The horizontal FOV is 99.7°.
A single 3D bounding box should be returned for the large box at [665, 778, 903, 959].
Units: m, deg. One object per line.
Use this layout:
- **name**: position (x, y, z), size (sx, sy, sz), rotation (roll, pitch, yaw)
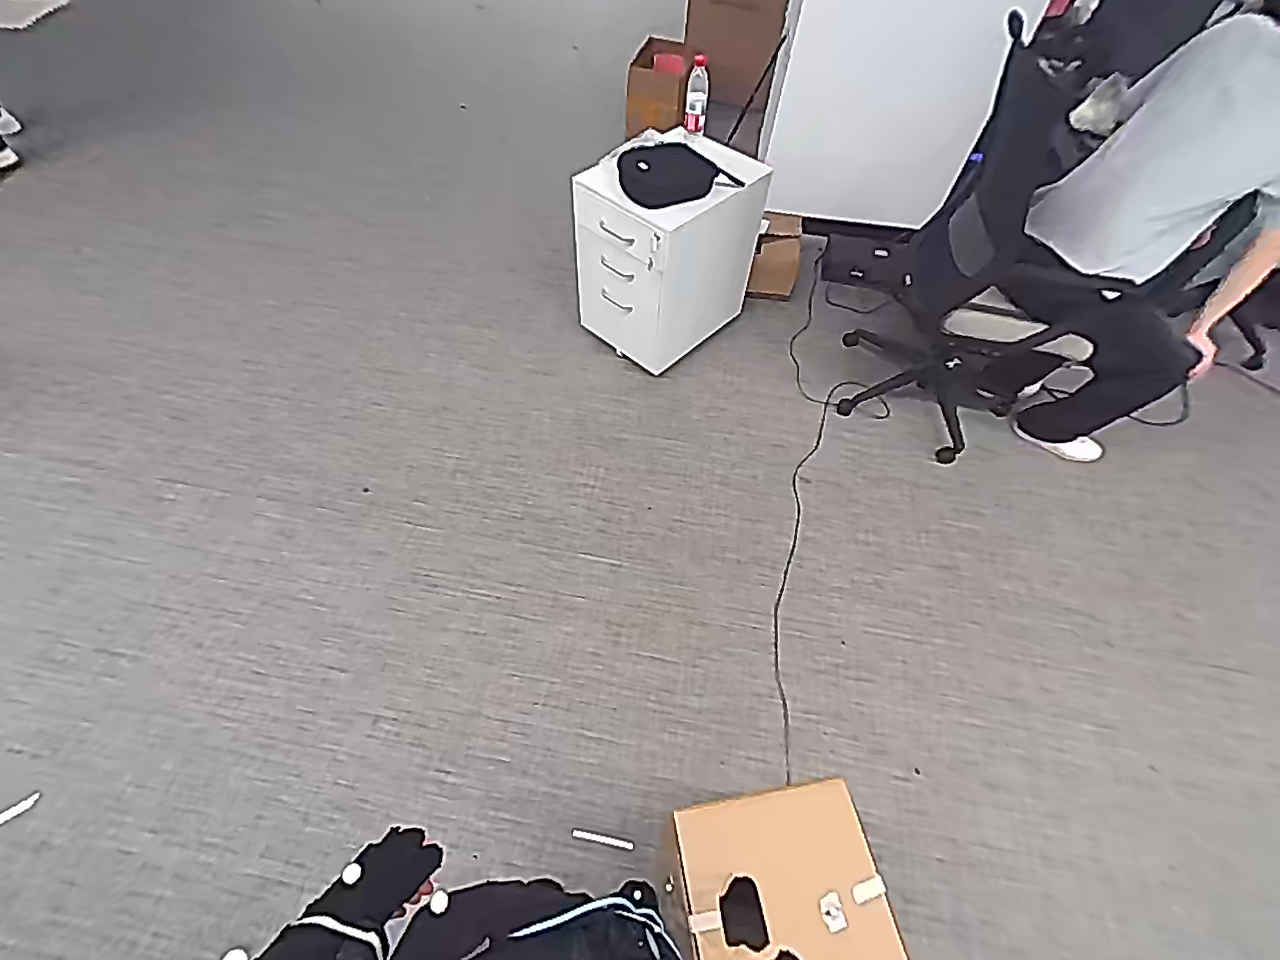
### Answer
- **large box**: position (0.233, 0.785, 1.012), size (0.320, 0.408, 0.320), rotation (-8, 55, -5)
